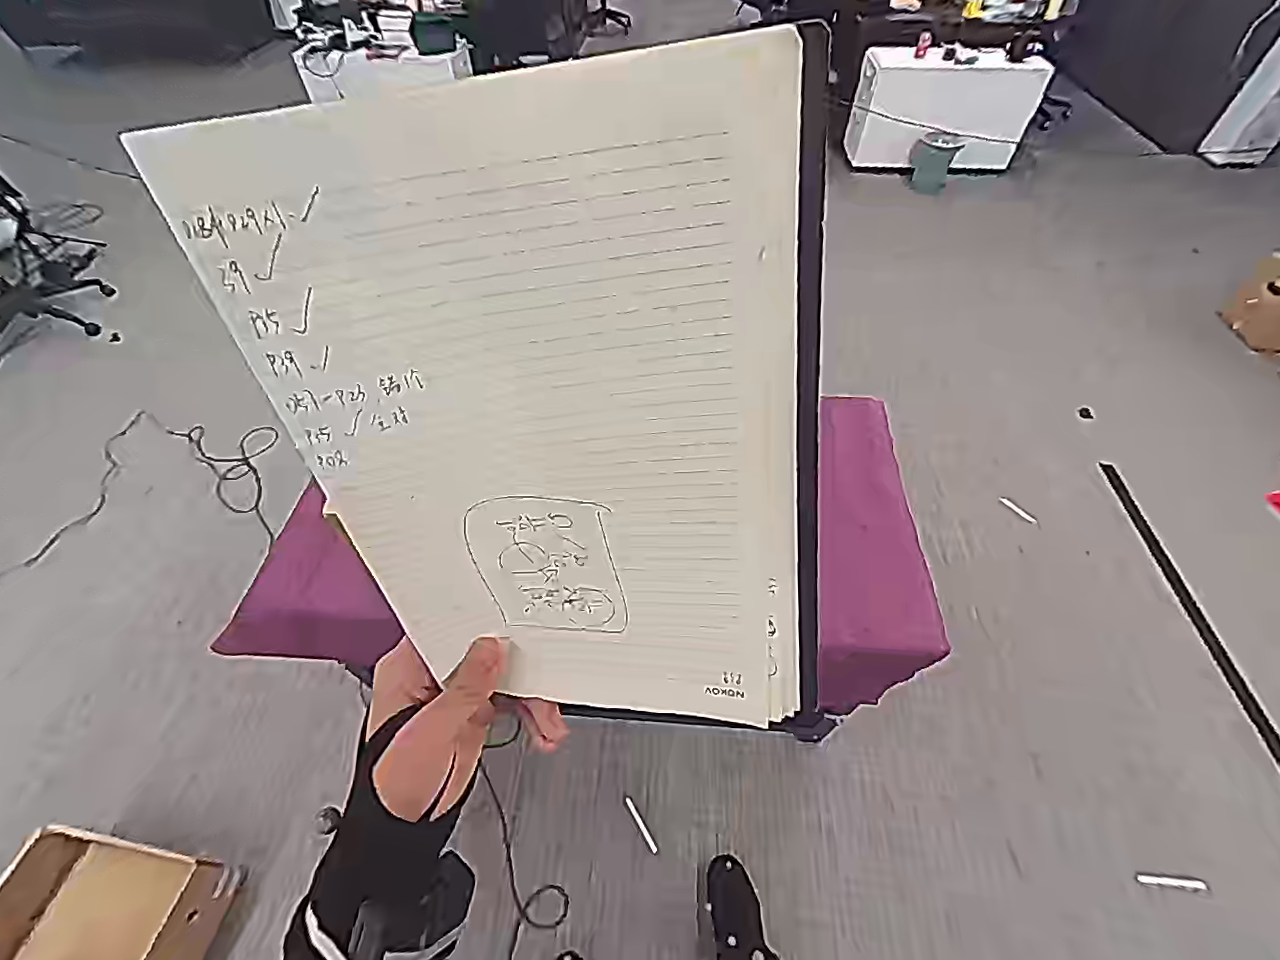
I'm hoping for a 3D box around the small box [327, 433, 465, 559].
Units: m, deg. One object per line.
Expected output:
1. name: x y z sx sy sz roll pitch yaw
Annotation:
1. small box: -0.430 0.035 0.987 0.168 0.176 0.179 -2 51 -2
